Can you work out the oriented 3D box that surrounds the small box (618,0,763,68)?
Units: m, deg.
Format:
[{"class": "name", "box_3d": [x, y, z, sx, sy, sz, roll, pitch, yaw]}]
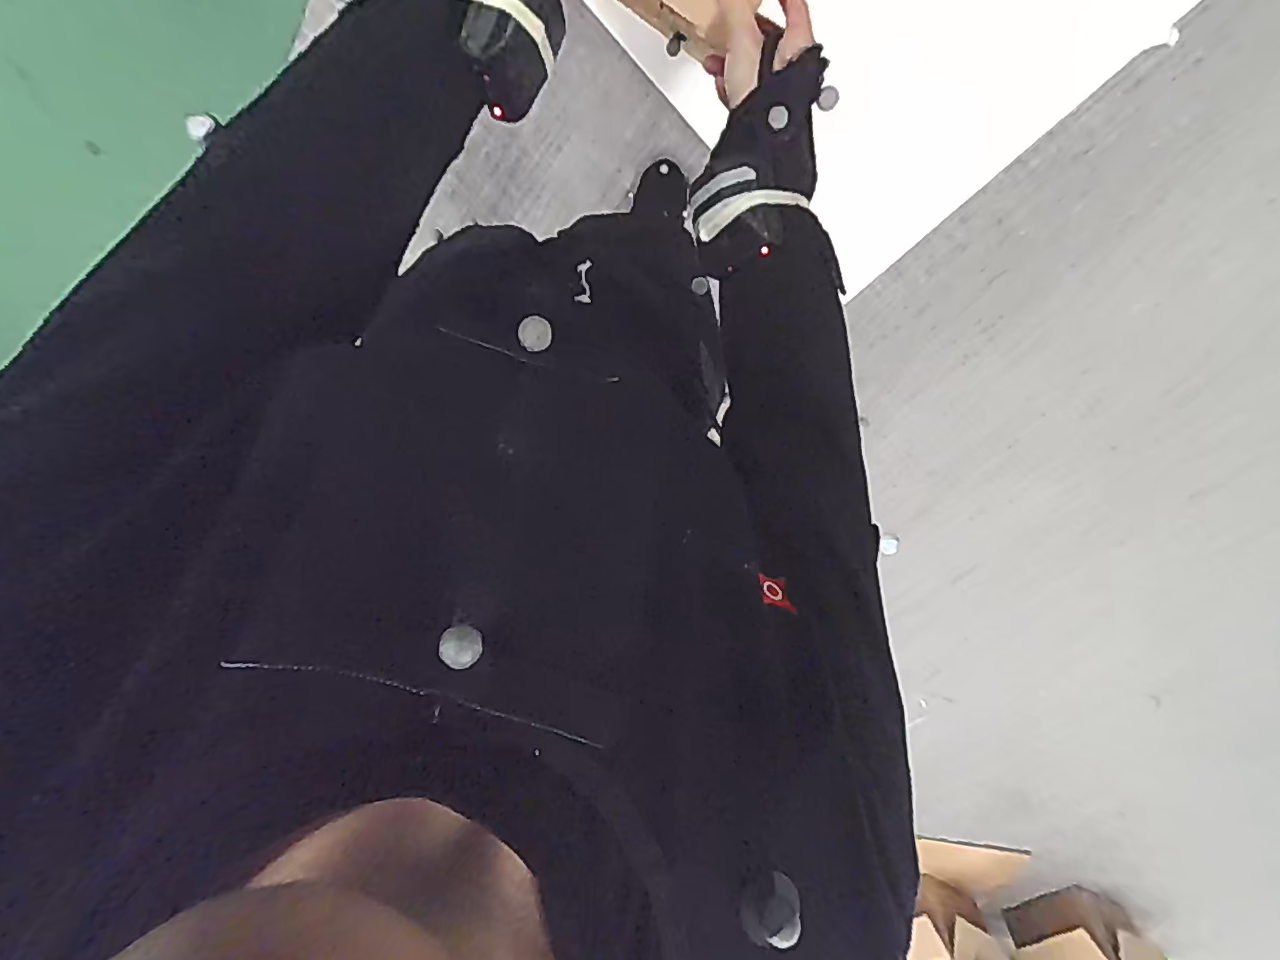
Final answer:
[{"class": "small box", "box_3d": [0.044, -0.449, 0.402, 0.168, 0.176, 0.179, 27, 121, -13]}]
